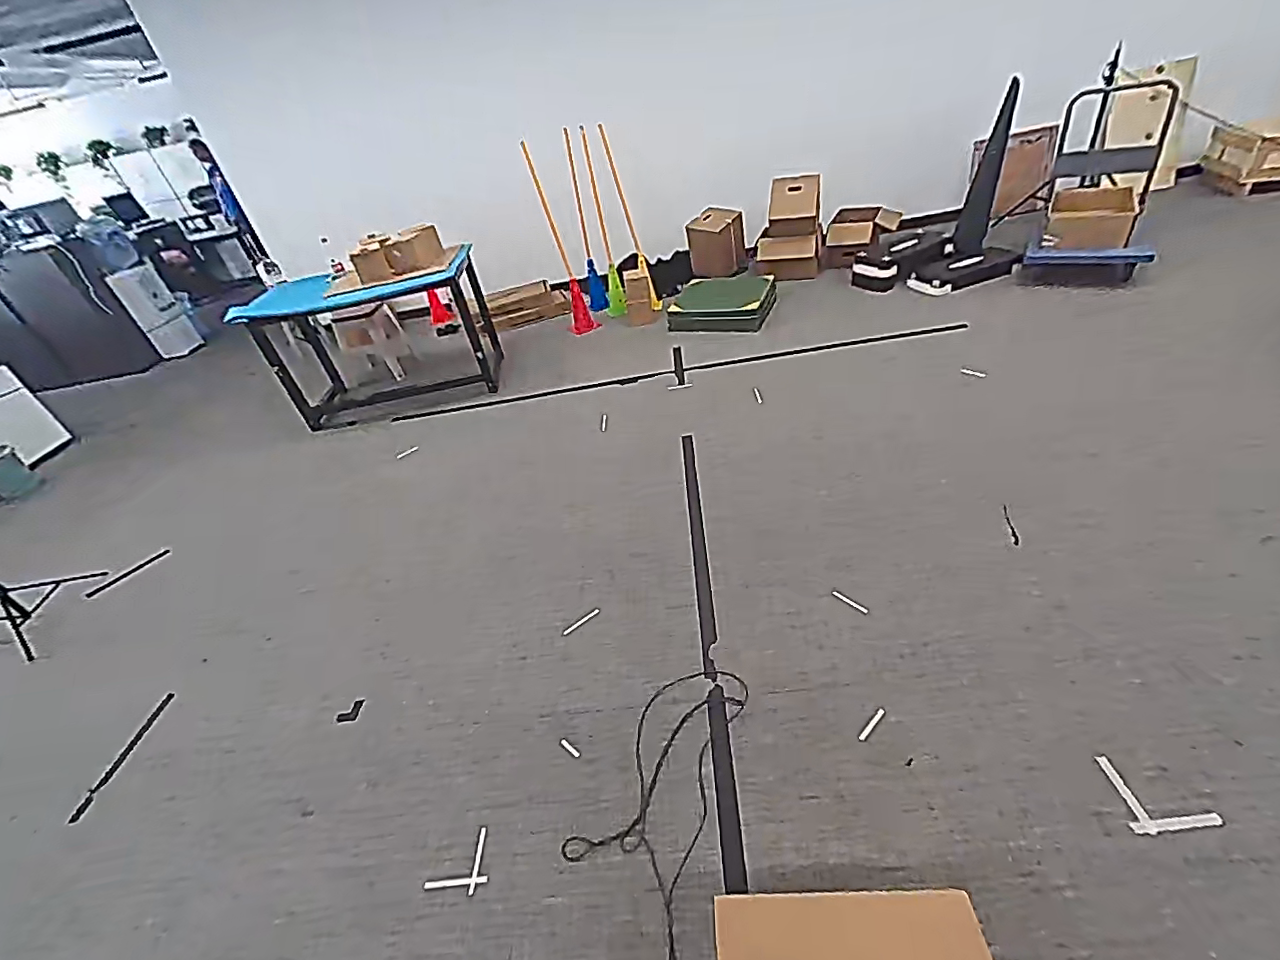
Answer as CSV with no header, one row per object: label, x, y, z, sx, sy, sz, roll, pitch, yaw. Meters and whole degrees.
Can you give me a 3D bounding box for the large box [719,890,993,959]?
large box,0.351,0.893,0.854,0.408,0.320,0.320,-7,37,7
